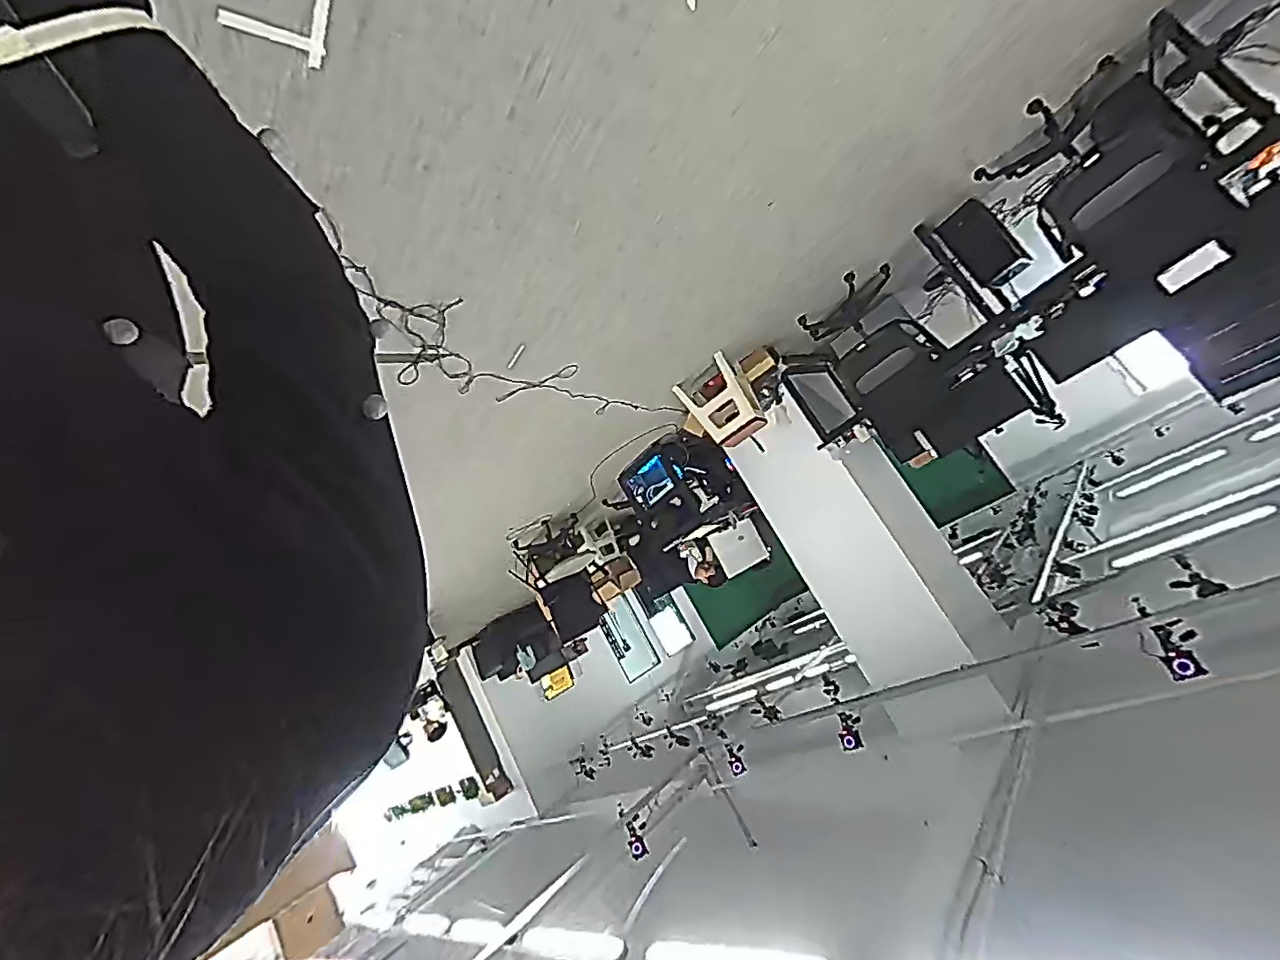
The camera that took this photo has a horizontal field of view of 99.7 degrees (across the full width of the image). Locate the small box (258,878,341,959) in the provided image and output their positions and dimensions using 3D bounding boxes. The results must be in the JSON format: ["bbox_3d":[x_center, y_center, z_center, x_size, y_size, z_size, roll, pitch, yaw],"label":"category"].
[{"bbox_3d":[-1.072,1.390,1.696,0.168,0.176,0.179,-14,160,-48],"label":"small box"}]
